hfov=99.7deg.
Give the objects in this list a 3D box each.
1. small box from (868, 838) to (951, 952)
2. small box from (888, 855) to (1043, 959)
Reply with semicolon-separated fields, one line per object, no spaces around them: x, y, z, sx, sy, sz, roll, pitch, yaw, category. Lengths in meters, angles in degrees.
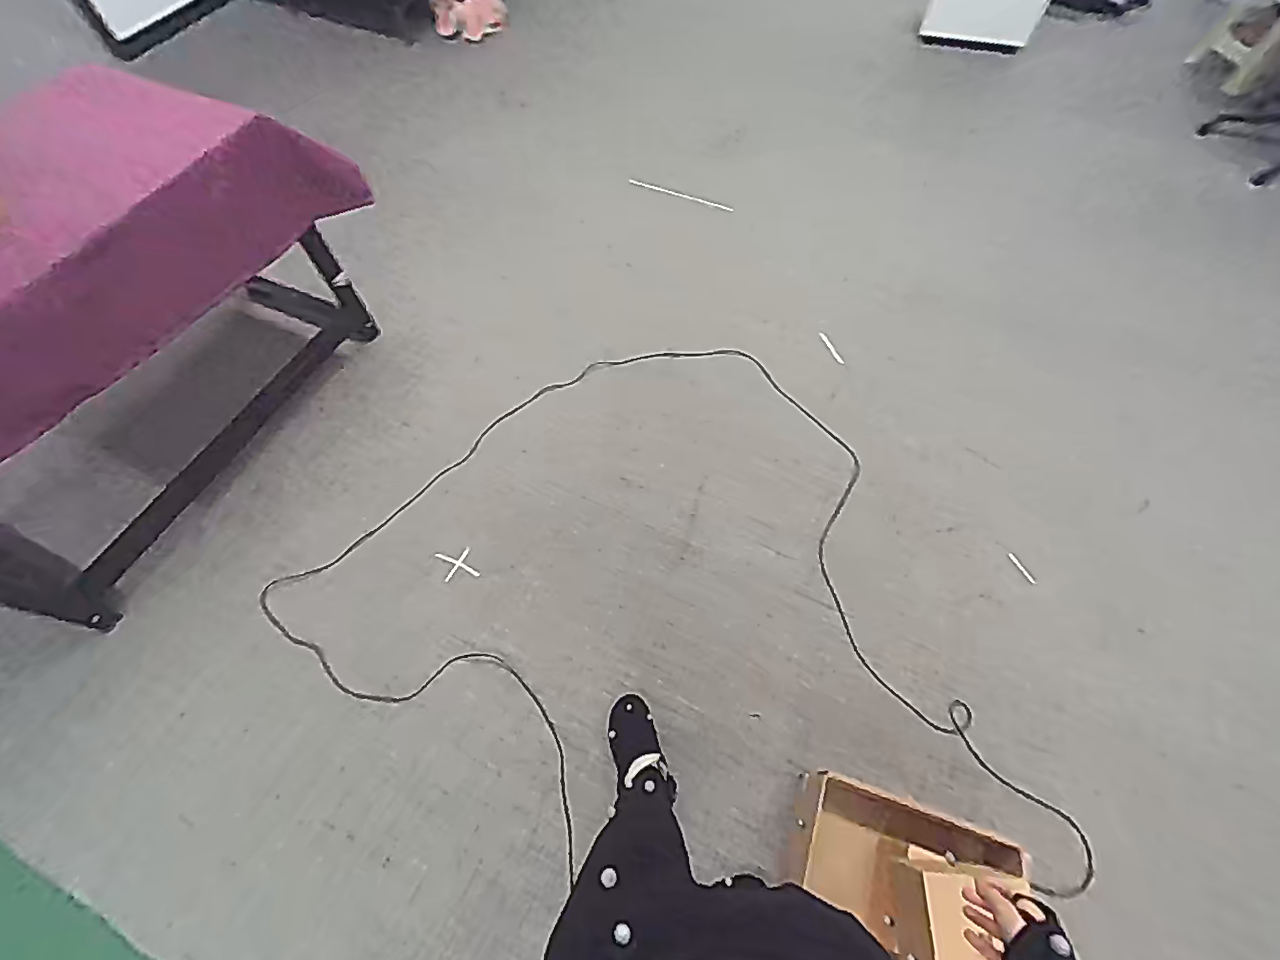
0.560;0.824;1.045;0.168;0.176;0.179;17;66;12;small box
0.534;0.751;0.901;0.168;0.176;0.179;2;63;4;small box
